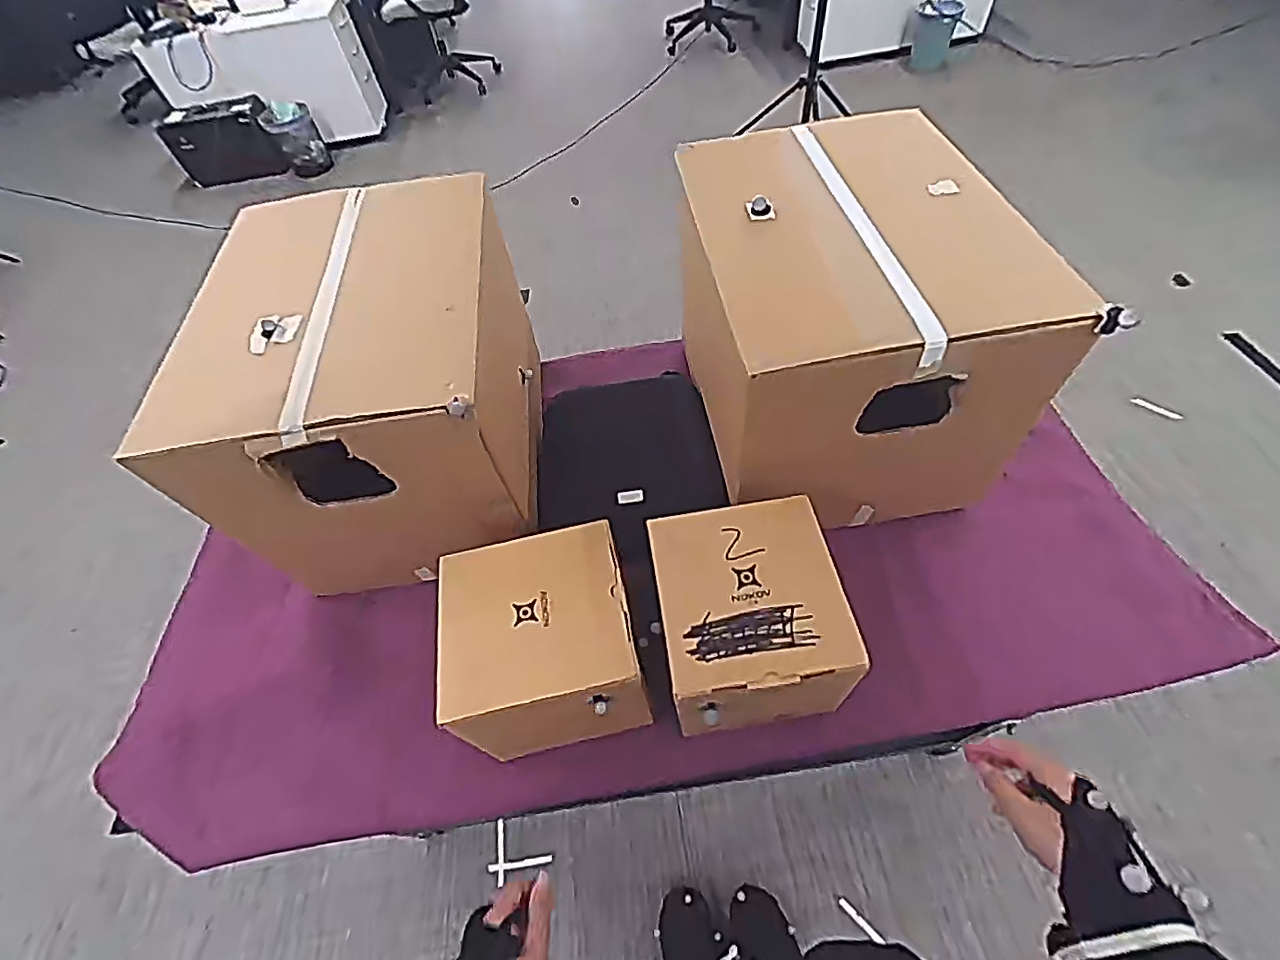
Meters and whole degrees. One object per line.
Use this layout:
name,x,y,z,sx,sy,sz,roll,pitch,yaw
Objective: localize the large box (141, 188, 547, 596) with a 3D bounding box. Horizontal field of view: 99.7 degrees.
large box,-0.314,-0.109,0.710,0.320,0.320,0.408,-10,57,0
